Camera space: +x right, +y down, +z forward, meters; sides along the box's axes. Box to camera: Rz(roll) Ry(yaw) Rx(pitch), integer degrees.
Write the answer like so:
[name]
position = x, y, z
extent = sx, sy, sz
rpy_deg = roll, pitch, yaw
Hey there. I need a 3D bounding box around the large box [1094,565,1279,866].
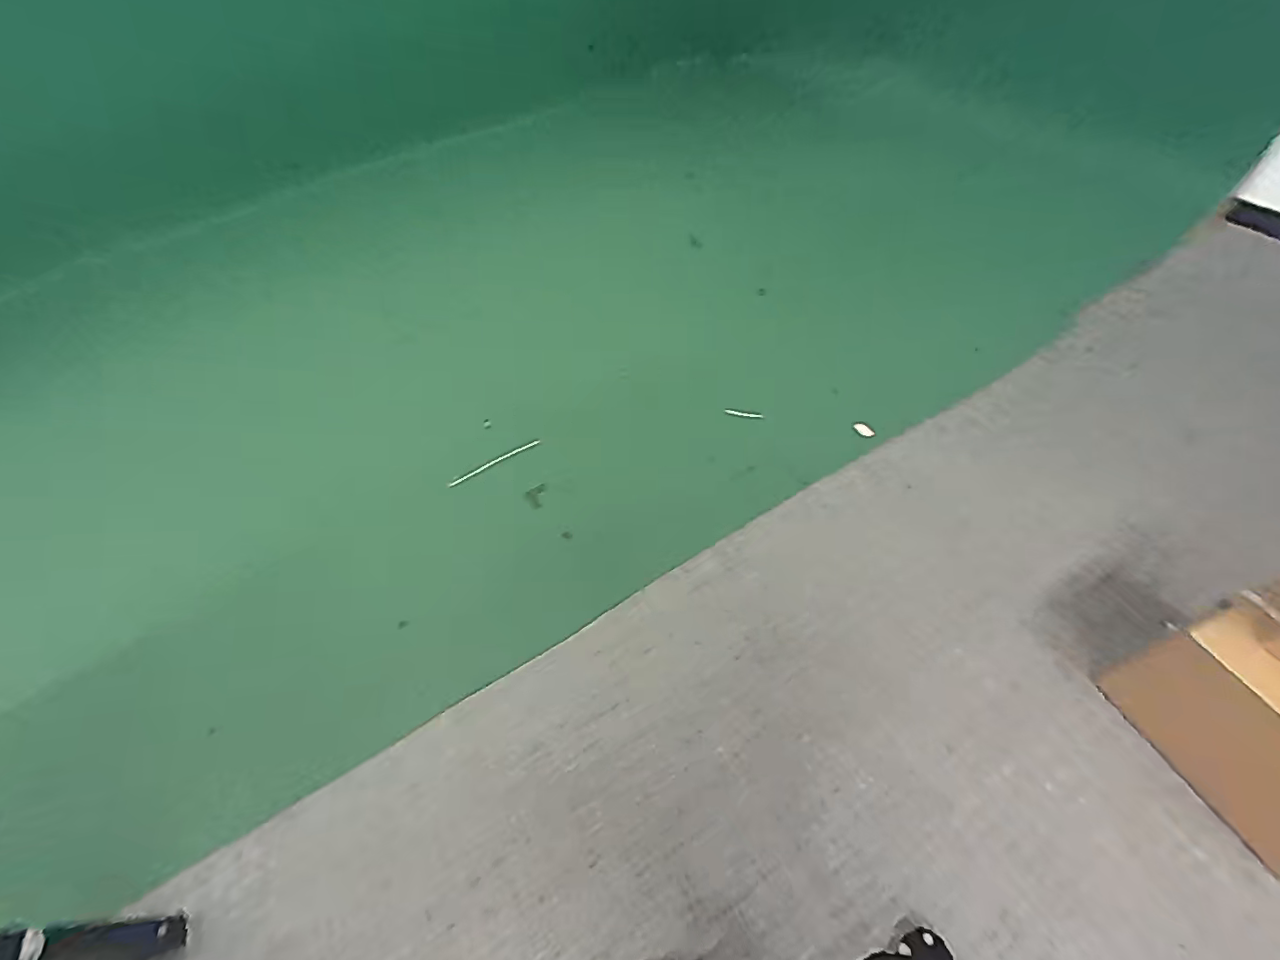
[large box]
position = 1.206, 0.429, 1.000
extent = 0.320, 0.320, 0.408
rpy_deg = -25, 56, -9
